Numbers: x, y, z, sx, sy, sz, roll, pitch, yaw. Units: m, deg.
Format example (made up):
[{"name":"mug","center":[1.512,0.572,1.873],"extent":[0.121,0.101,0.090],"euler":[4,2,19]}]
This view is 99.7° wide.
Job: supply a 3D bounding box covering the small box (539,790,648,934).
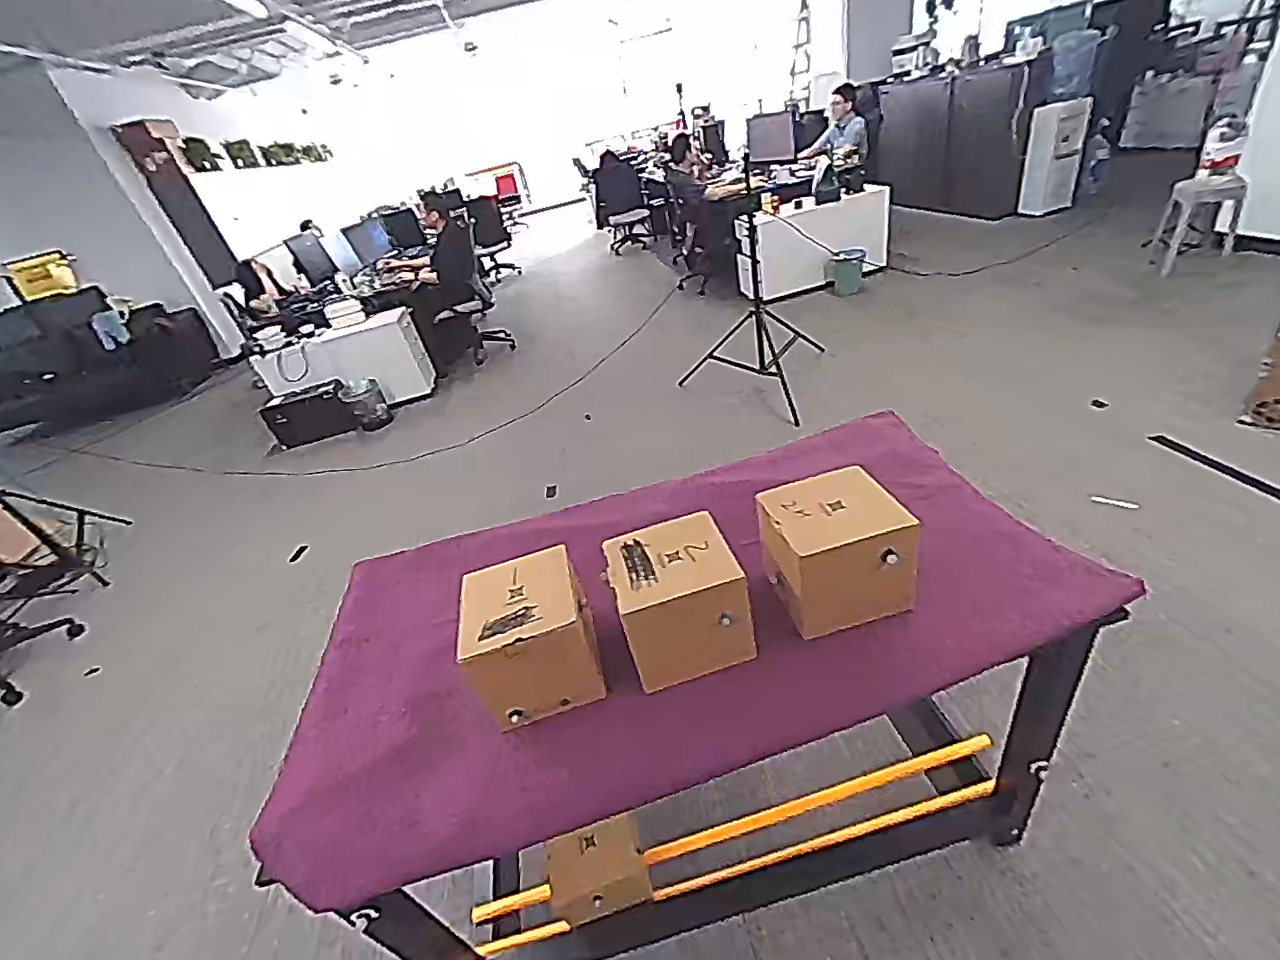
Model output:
[{"name":"small box","center":[-0.091,0.782,1.110],"extent":[0.179,0.176,0.168],"euler":[-19,36,-6]}]
